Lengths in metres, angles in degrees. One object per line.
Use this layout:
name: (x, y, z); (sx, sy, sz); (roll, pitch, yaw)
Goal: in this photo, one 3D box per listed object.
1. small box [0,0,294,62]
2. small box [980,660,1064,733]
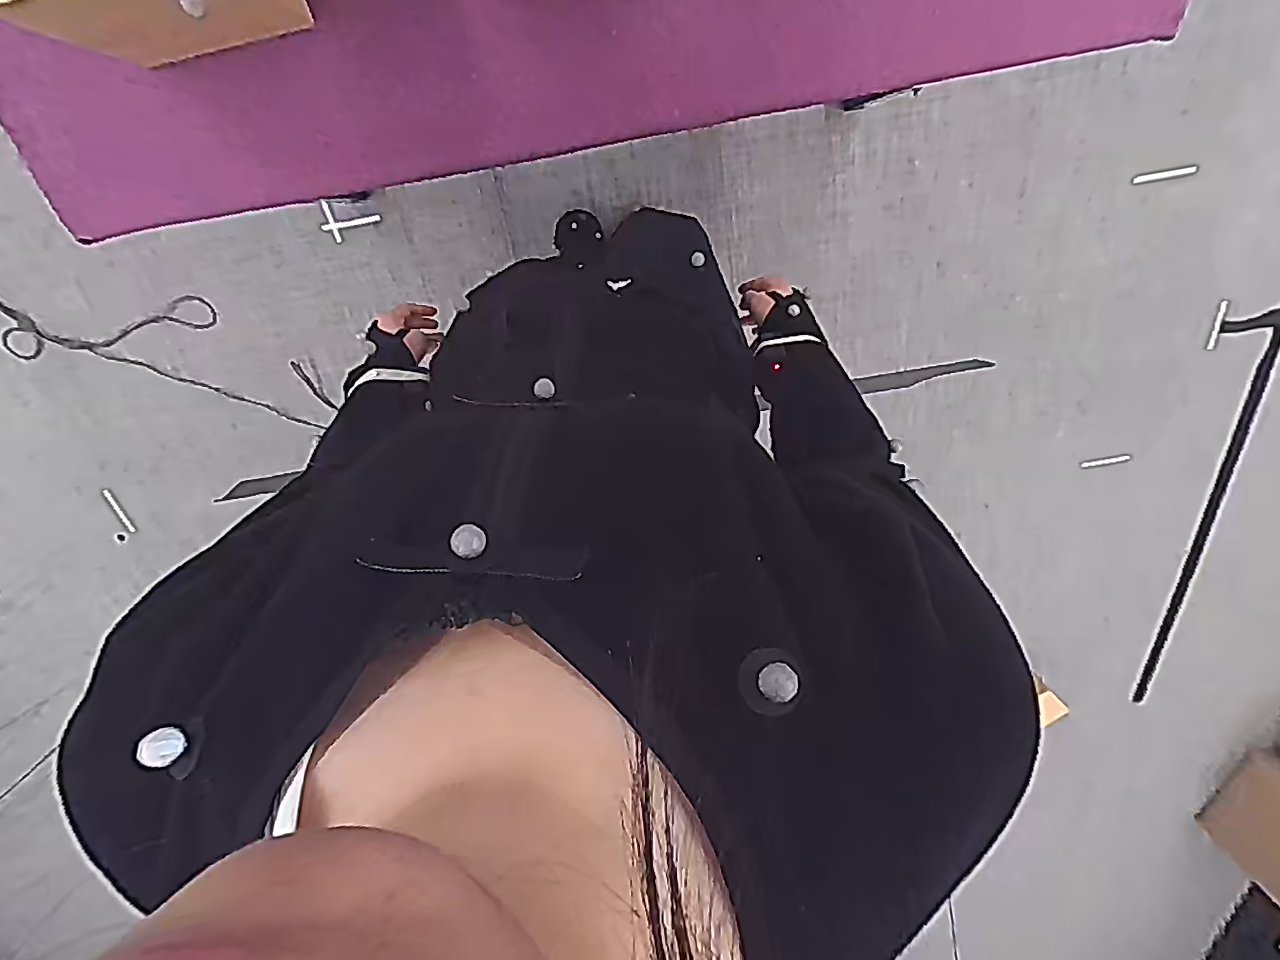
small box: (-0.404, -0.453, 0.412); (0.179, 0.176, 0.168); (-13, 116, 1)
small box: (1.445, 0.815, 2.057); (0.179, 0.176, 0.168); (38, 109, -22)
